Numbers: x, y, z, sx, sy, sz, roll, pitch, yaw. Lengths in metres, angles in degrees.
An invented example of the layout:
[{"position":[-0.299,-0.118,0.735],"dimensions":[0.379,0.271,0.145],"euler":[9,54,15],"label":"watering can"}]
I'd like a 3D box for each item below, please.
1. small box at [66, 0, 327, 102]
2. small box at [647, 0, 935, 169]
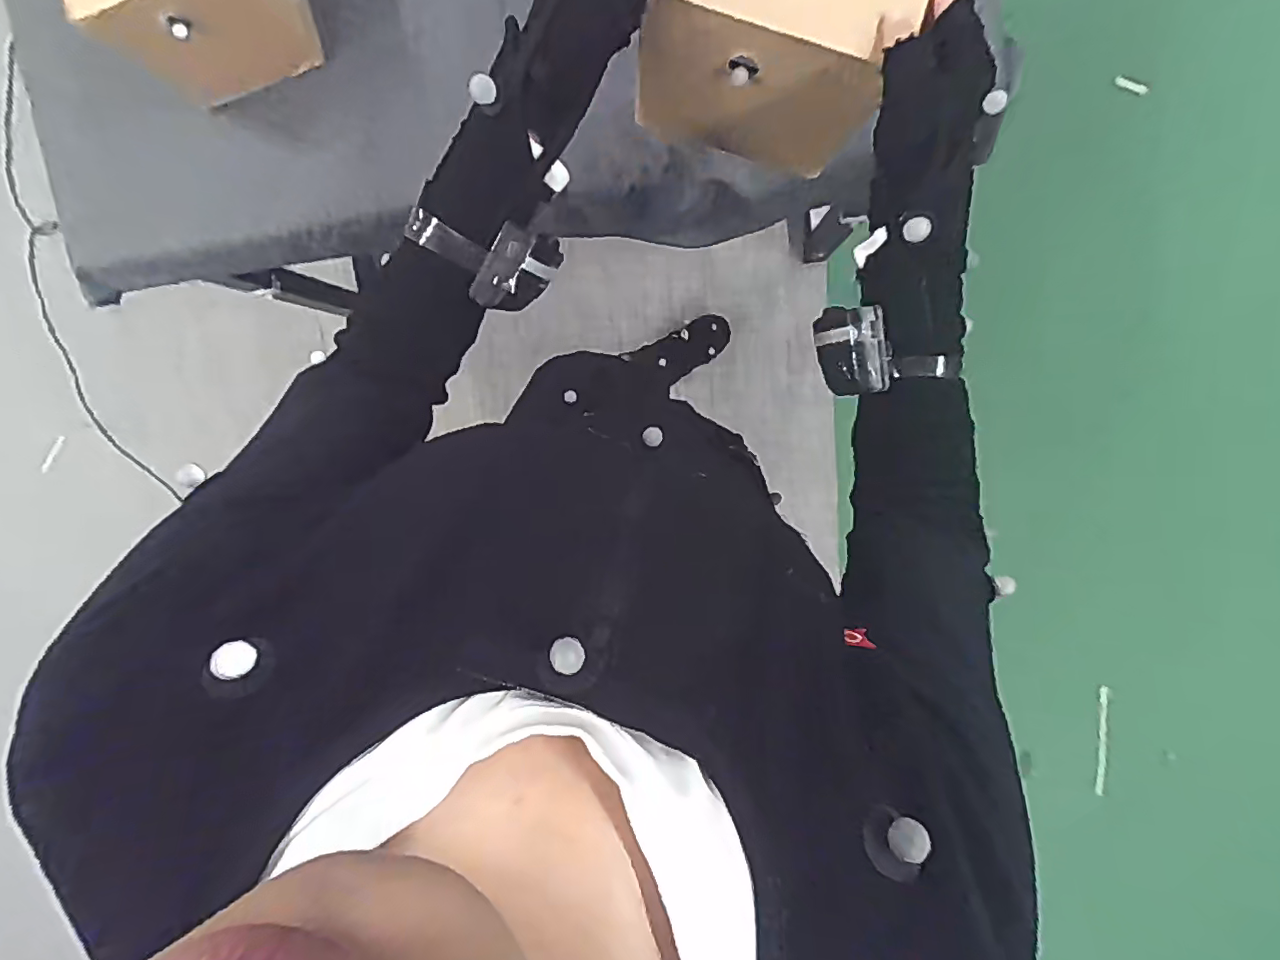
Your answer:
[{"position":[-0.497,-0.566,0.600],"dimensions":[0.179,0.176,0.168],"euler":[-16,98,6],"label":"small box"},{"position":[0.109,-0.368,0.406],"dimensions":[0.179,0.176,0.168],"euler":[16,98,-5],"label":"small box"}]
